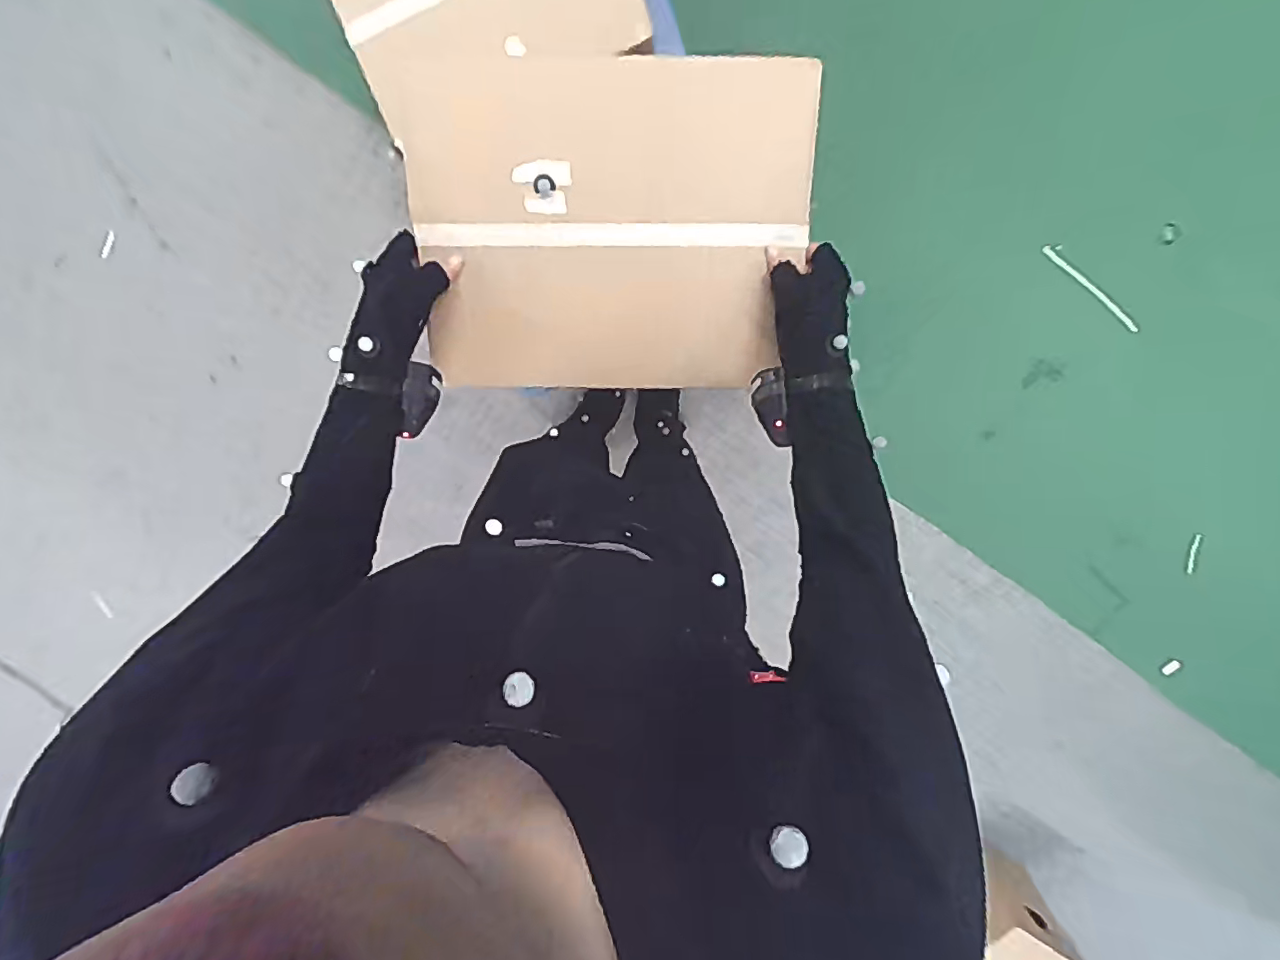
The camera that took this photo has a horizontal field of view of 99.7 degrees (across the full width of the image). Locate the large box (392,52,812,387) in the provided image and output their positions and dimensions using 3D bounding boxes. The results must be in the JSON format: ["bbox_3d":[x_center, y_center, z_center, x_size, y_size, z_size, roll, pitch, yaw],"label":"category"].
[{"bbox_3d":[-0.034,-0.304,0.694,0.408,0.320,0.320,2,109,0],"label":"large box"}]
